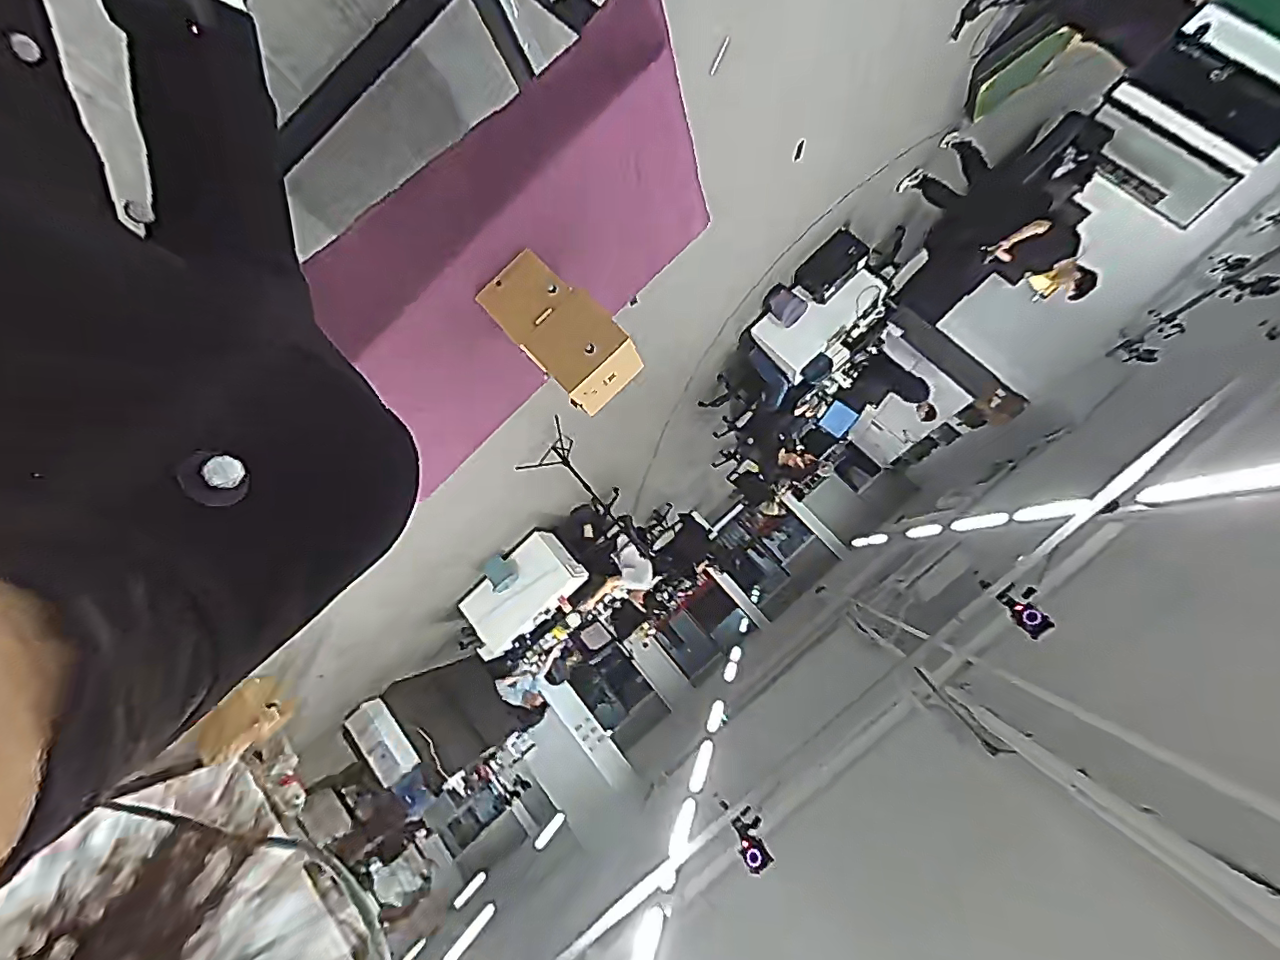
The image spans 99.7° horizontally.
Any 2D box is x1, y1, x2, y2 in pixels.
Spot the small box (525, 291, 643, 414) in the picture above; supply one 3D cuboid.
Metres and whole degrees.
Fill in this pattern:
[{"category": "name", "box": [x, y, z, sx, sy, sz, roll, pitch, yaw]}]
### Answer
[{"category": "small box", "box": [-0.122, -0.282, 1.203, 0.179, 0.176, 0.168, -43, 165, 2]}]
